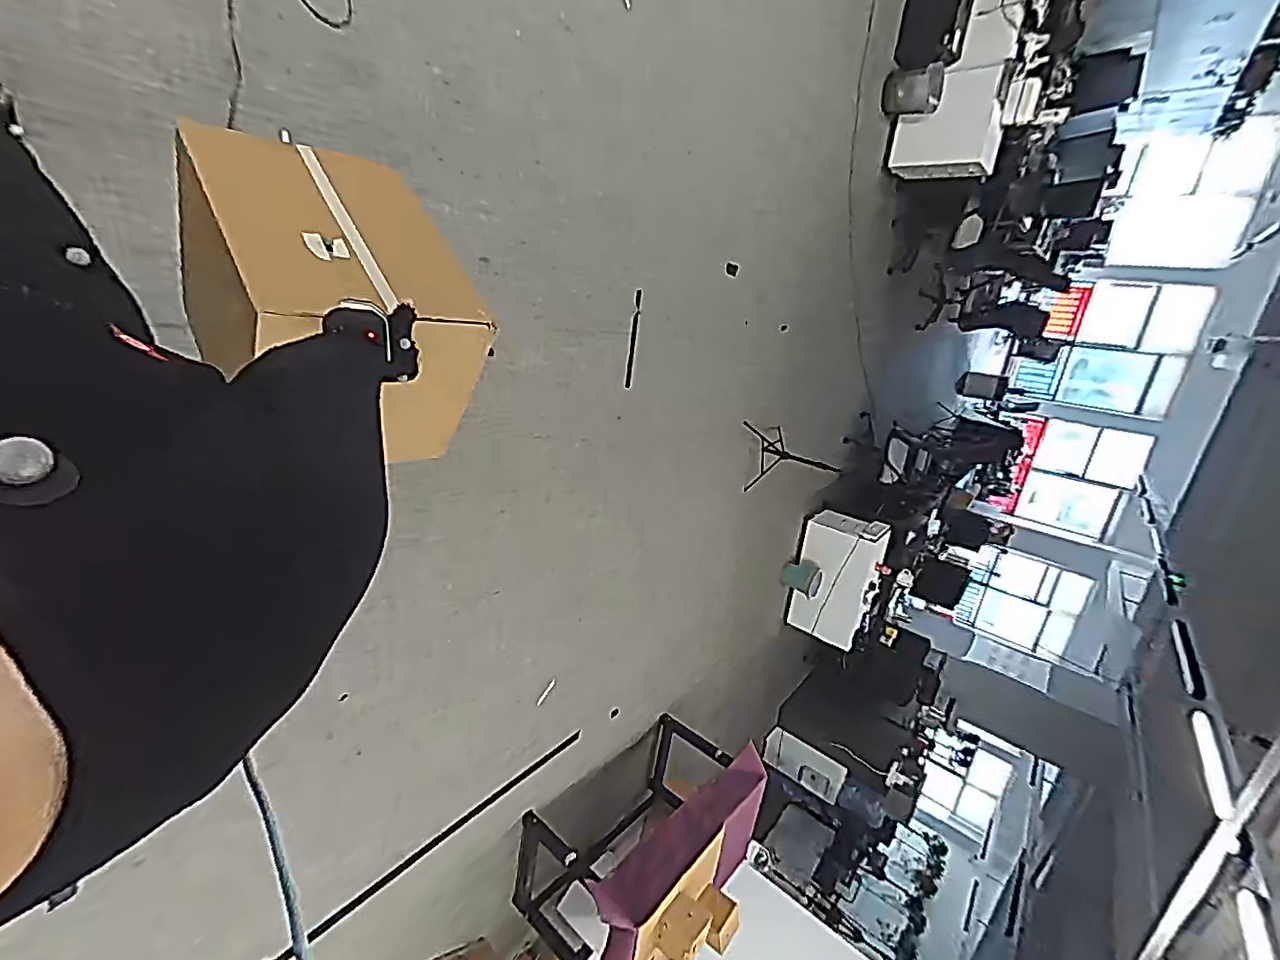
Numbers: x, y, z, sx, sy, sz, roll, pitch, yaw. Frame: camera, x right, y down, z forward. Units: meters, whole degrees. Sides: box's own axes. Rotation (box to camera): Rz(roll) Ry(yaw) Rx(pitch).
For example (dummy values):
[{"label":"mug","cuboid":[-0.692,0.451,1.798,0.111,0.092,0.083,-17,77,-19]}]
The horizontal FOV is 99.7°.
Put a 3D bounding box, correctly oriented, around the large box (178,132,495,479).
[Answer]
[{"label":"large box","cuboid":[-0.510,-0.265,0.887,0.320,0.408,0.320,-14,152,-46]}]
